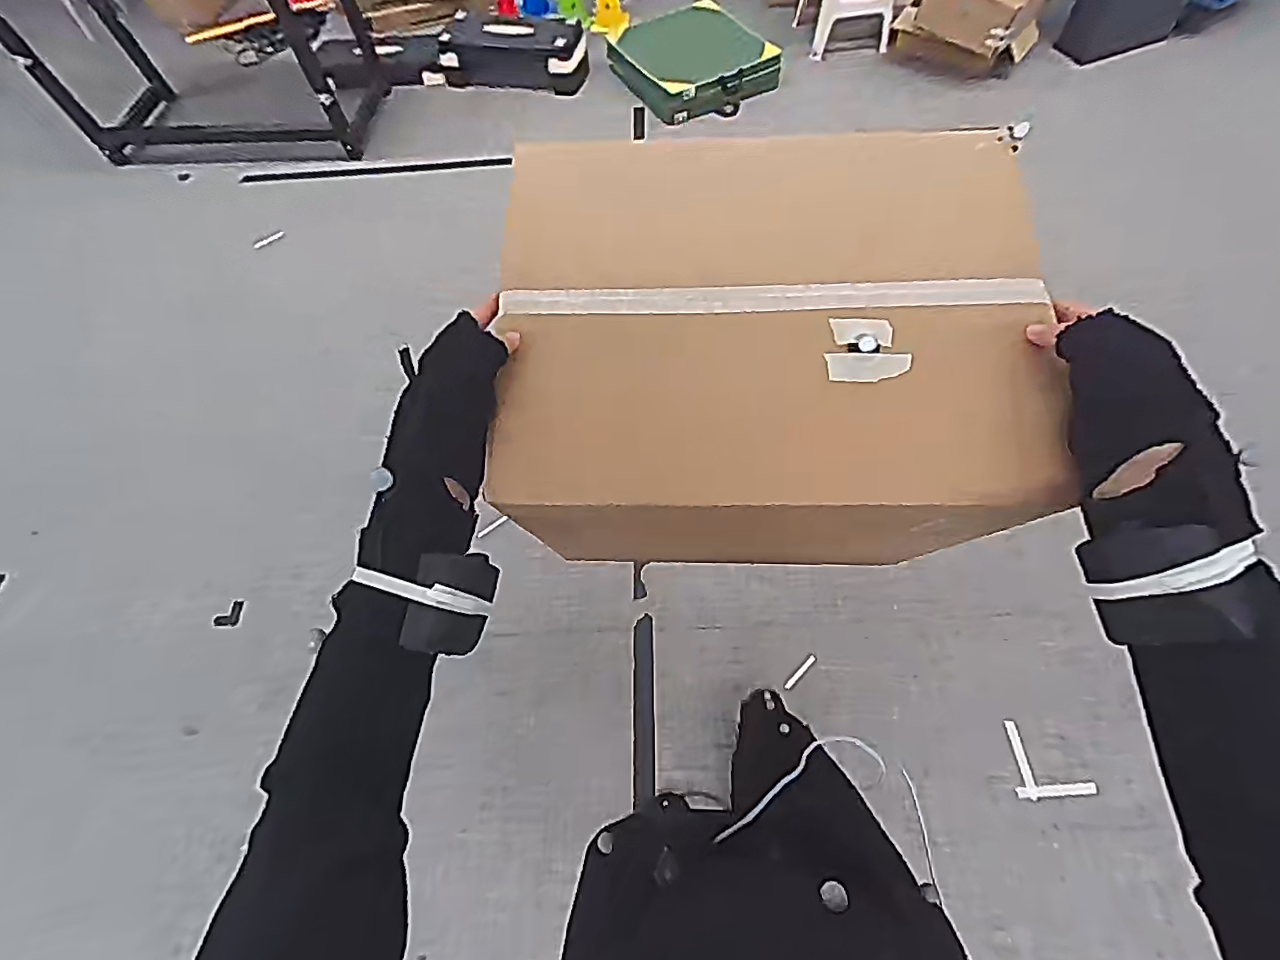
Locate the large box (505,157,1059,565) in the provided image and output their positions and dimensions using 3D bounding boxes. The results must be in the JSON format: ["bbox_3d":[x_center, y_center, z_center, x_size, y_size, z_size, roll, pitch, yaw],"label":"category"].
[{"bbox_3d":[0.102,-0.086,0.570,0.408,0.320,0.320,0,74,3],"label":"large box"}]
